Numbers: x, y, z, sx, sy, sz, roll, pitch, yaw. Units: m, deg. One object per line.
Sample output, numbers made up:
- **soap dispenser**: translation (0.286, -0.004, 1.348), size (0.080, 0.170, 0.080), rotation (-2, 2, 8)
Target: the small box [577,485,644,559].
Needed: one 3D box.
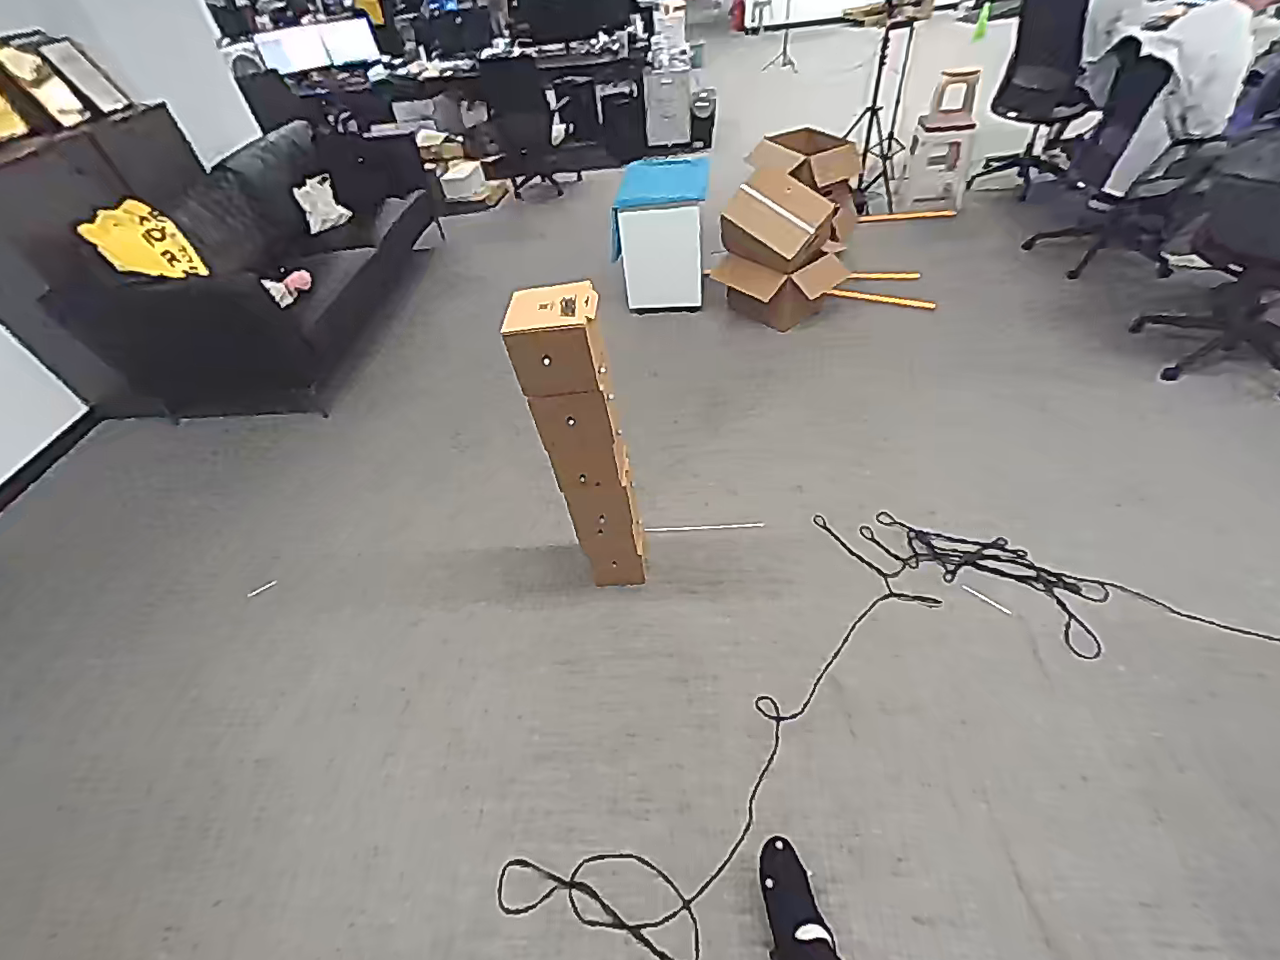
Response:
- **small box**: translation (-0.086, 0.133, 1.673), size (0.179, 0.176, 0.168), rotation (-3, 46, 7)

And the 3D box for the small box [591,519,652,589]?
- **small box**: translation (-0.056, 0.247, 1.788), size (0.179, 0.176, 0.168), rotation (-3, 45, 6)

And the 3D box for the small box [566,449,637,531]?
- **small box**: translation (-0.102, 0.031, 1.547), size (0.179, 0.176, 0.168), rotation (-5, 46, 5)

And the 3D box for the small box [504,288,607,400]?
- **small box**: translation (-0.175, -0.295, 1.186), size (0.179, 0.176, 0.168), rotation (-5, 47, 8)

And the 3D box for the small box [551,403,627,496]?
- **small box**: translation (-0.128, -0.080, 1.430), size (0.168, 0.176, 0.179), rotation (-5, 47, 5)
